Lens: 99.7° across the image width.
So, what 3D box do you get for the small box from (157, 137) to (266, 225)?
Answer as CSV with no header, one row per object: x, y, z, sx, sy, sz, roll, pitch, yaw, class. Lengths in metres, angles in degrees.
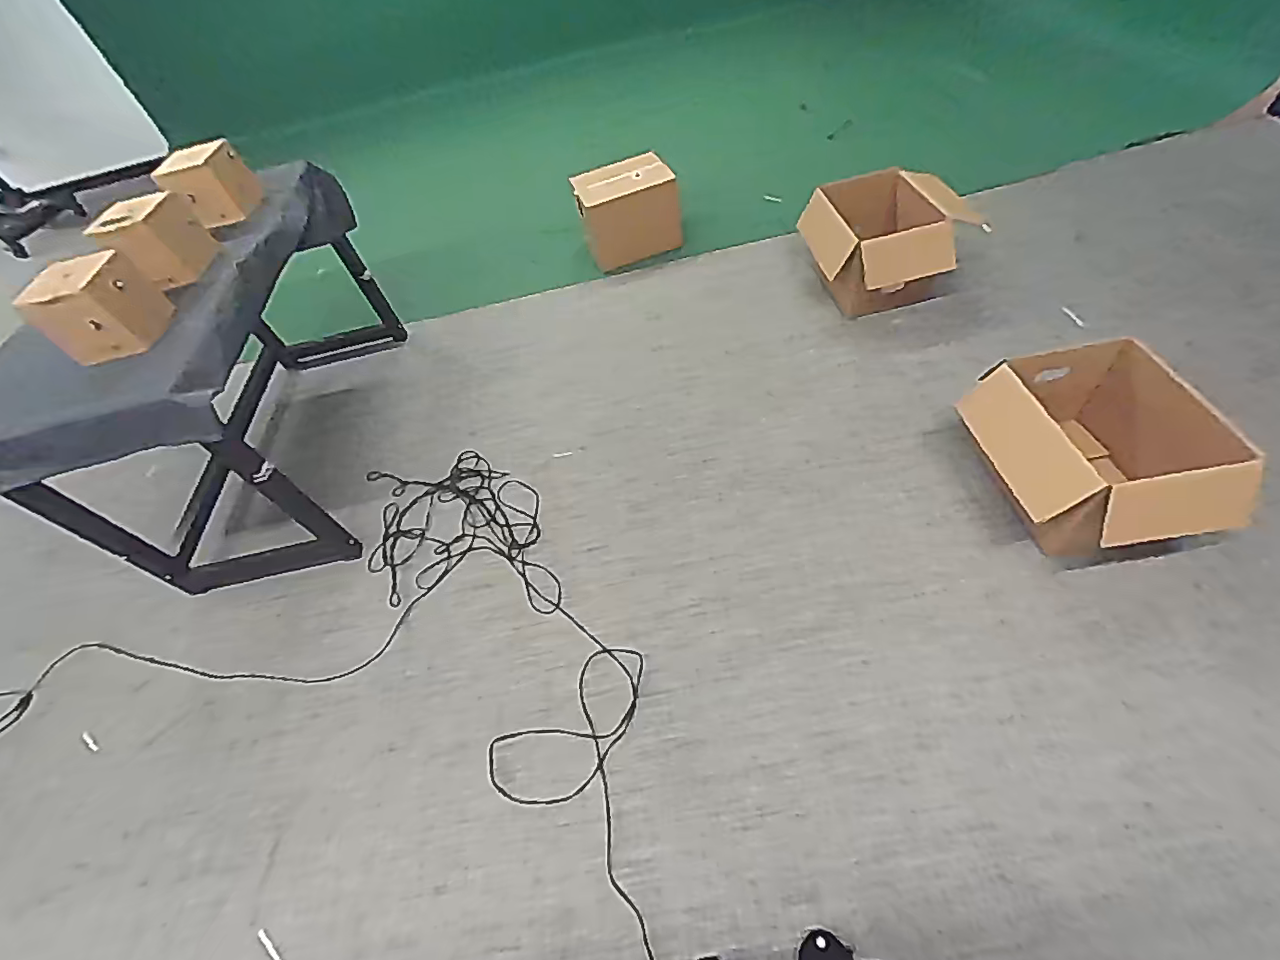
-1.278,-0.892,1.629,0.168,0.176,0.179,-11,52,5,small box

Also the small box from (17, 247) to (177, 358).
-1.238,-0.402,1.253,0.168,0.176,0.179,-12,51,2,small box
